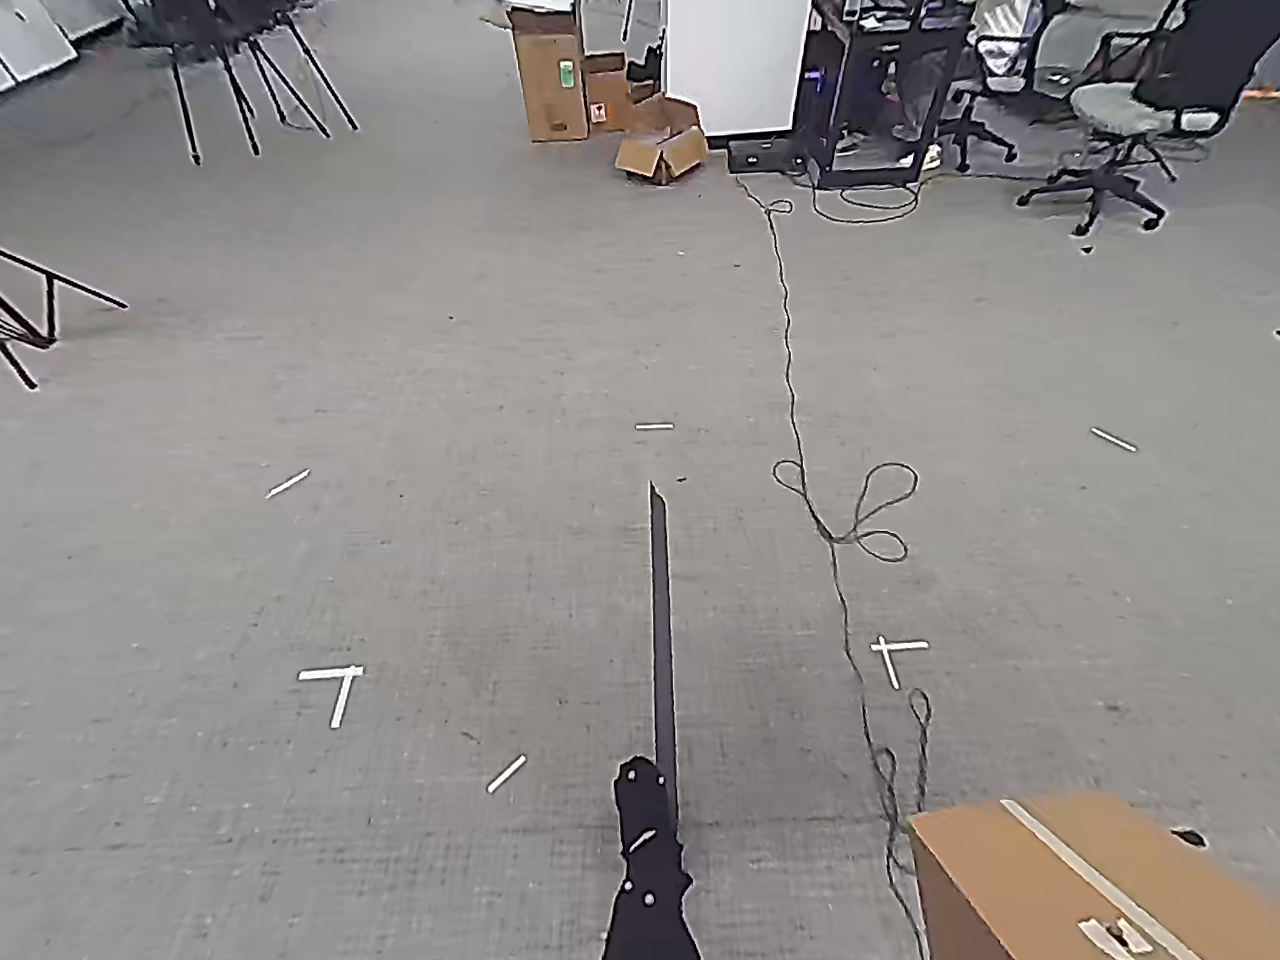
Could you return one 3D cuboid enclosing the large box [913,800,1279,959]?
[{"bbox_3d":[0.587,0.657,0.637,0.320,0.408,0.320,-9,88,2],"label":"large box"}]
